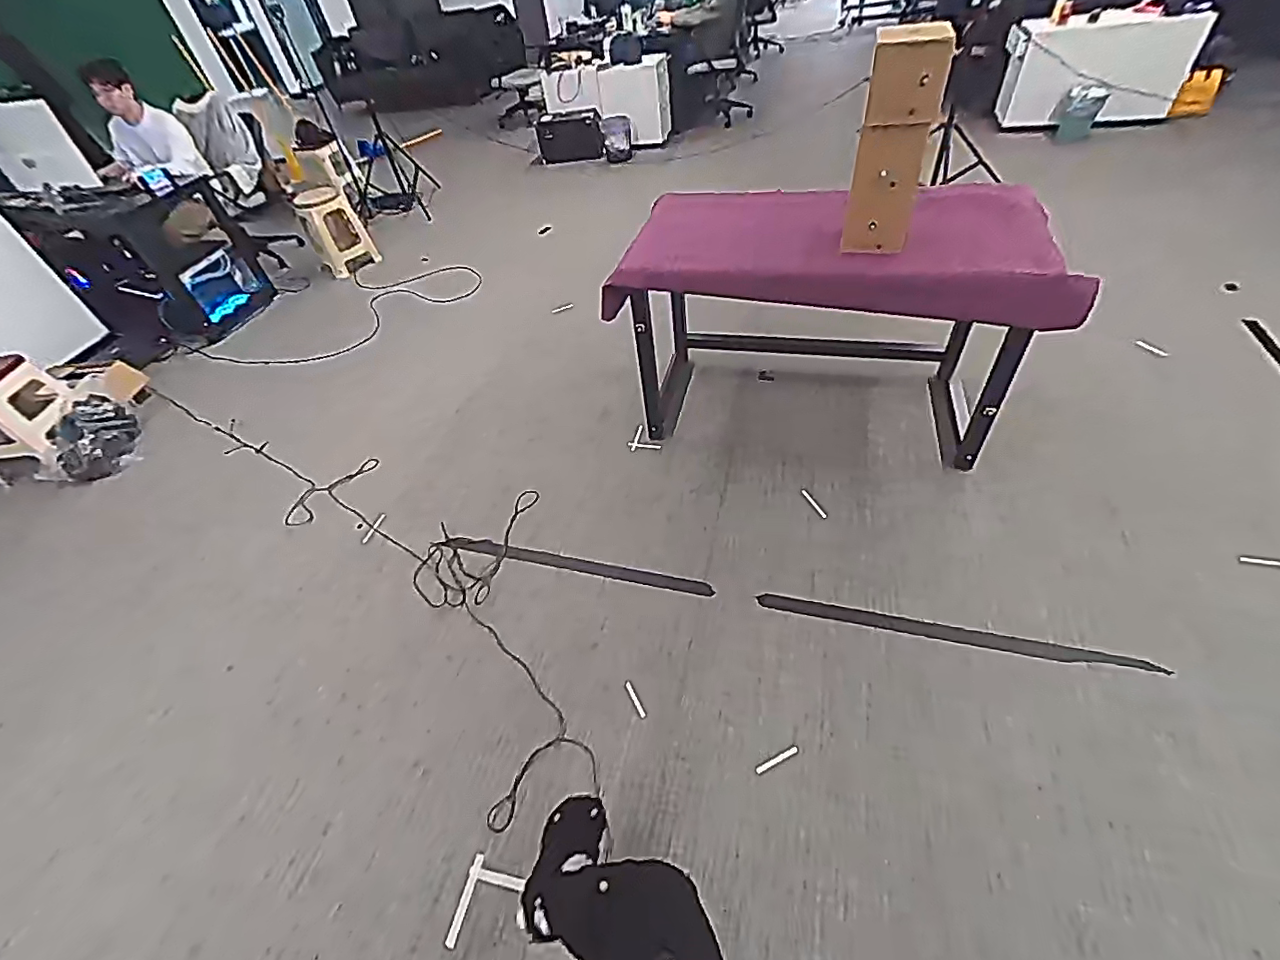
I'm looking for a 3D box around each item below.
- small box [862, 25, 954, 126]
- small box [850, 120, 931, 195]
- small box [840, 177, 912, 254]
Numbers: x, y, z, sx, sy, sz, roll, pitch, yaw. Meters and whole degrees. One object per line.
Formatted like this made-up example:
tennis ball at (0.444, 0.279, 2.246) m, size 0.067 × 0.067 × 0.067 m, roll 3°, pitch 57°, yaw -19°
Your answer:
small box at (0.644, -0.979, 1.317) m, size 0.168 × 0.176 × 0.179 m, roll 7°, pitch 48°, yaw 14°
small box at (0.667, -0.885, 1.449) m, size 0.168 × 0.176 × 0.179 m, roll 9°, pitch 50°, yaw 17°
small box at (0.682, -0.771, 1.566) m, size 0.168 × 0.176 × 0.179 m, roll 10°, pitch 49°, yaw 17°
